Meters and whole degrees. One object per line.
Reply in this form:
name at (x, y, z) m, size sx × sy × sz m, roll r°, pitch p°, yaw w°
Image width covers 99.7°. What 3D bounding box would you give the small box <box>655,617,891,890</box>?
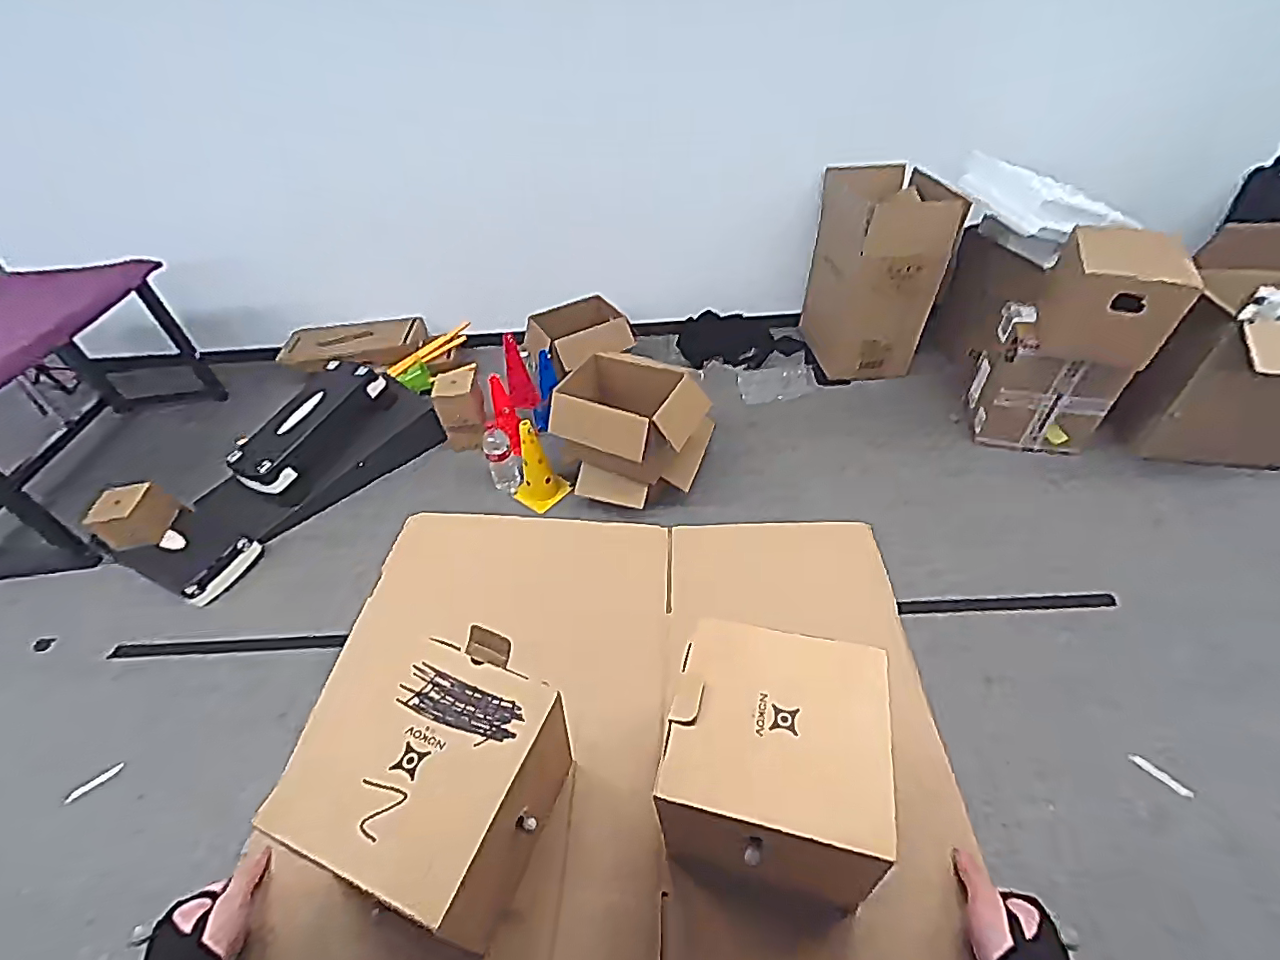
small box at (0.125, 0.258, 0.512) m, size 0.179 × 0.176 × 0.168 m, roll 6°, pitch 45°, yaw 16°
